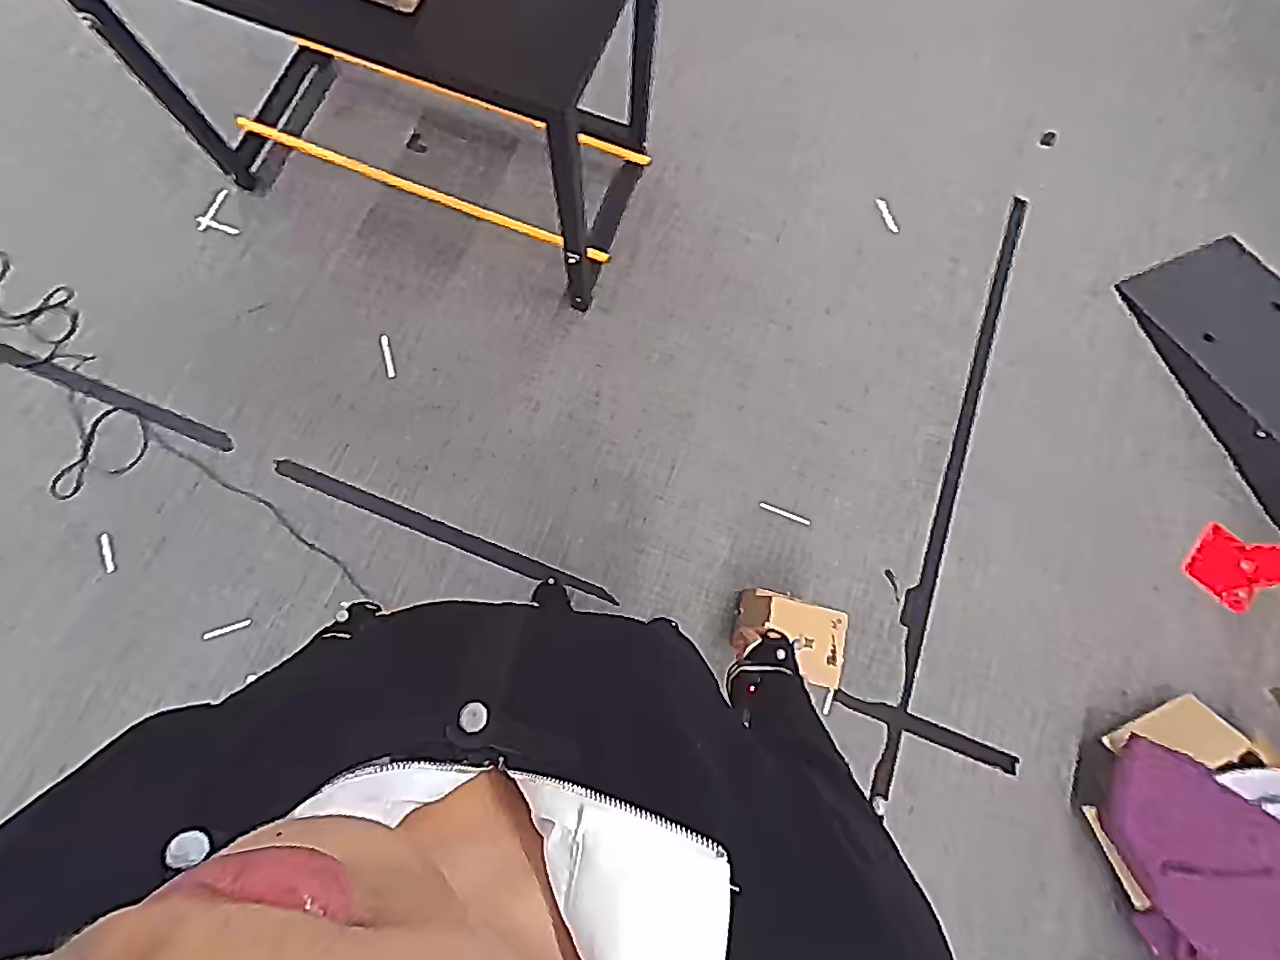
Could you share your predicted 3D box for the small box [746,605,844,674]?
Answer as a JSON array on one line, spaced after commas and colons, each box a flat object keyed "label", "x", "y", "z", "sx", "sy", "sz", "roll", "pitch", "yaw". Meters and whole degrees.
[{"label": "small box", "x": 0.380, "y": 0.412, "z": 1.348, "sx": 0.179, "sy": 0.176, "sz": 0.168, "roll": 14, "pitch": 77, "yaw": 2}]

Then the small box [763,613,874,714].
[{"label": "small box", "x": 0.381, "y": 0.394, "z": 1.183, "sx": 0.179, "sy": 0.176, "sz": 0.168, "roll": 13, "pitch": 77, "yaw": 0}]
